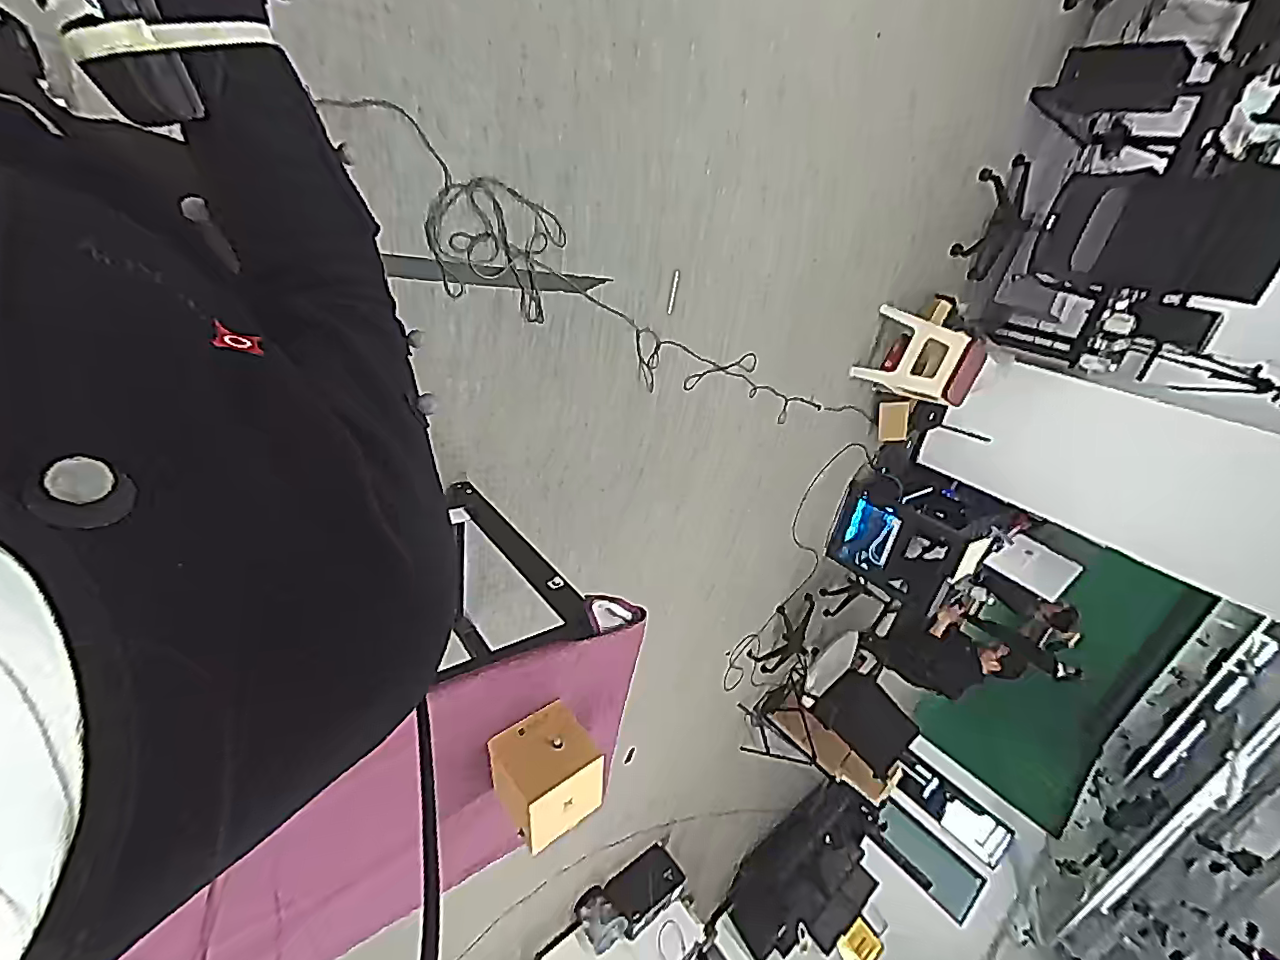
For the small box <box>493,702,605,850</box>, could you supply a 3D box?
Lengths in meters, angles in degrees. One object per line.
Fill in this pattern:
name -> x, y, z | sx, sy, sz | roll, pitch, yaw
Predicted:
small box -> -0.186, 0.584, 1.096 | 0.168, 0.176, 0.179 | -20, 128, -35
